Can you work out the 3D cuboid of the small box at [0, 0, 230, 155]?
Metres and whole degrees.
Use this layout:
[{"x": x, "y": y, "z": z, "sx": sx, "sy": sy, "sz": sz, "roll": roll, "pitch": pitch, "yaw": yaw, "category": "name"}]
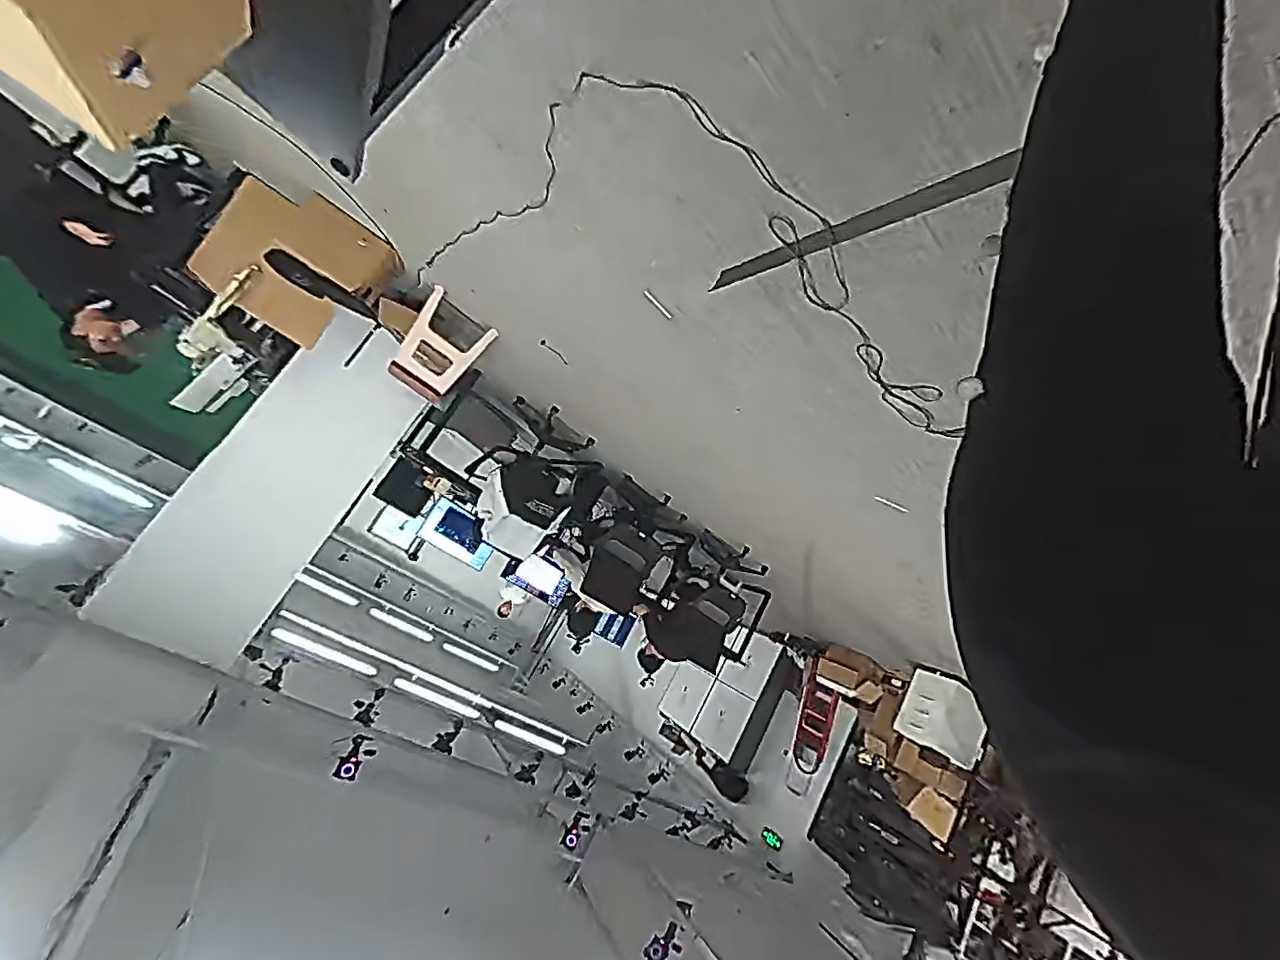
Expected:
[{"x": -0.401, "y": -0.365, "z": 0.343, "sx": 0.168, "sy": 0.176, "sz": 0.179, "roll": 37, "pitch": 163, "yaw": -28, "category": "small box"}]
